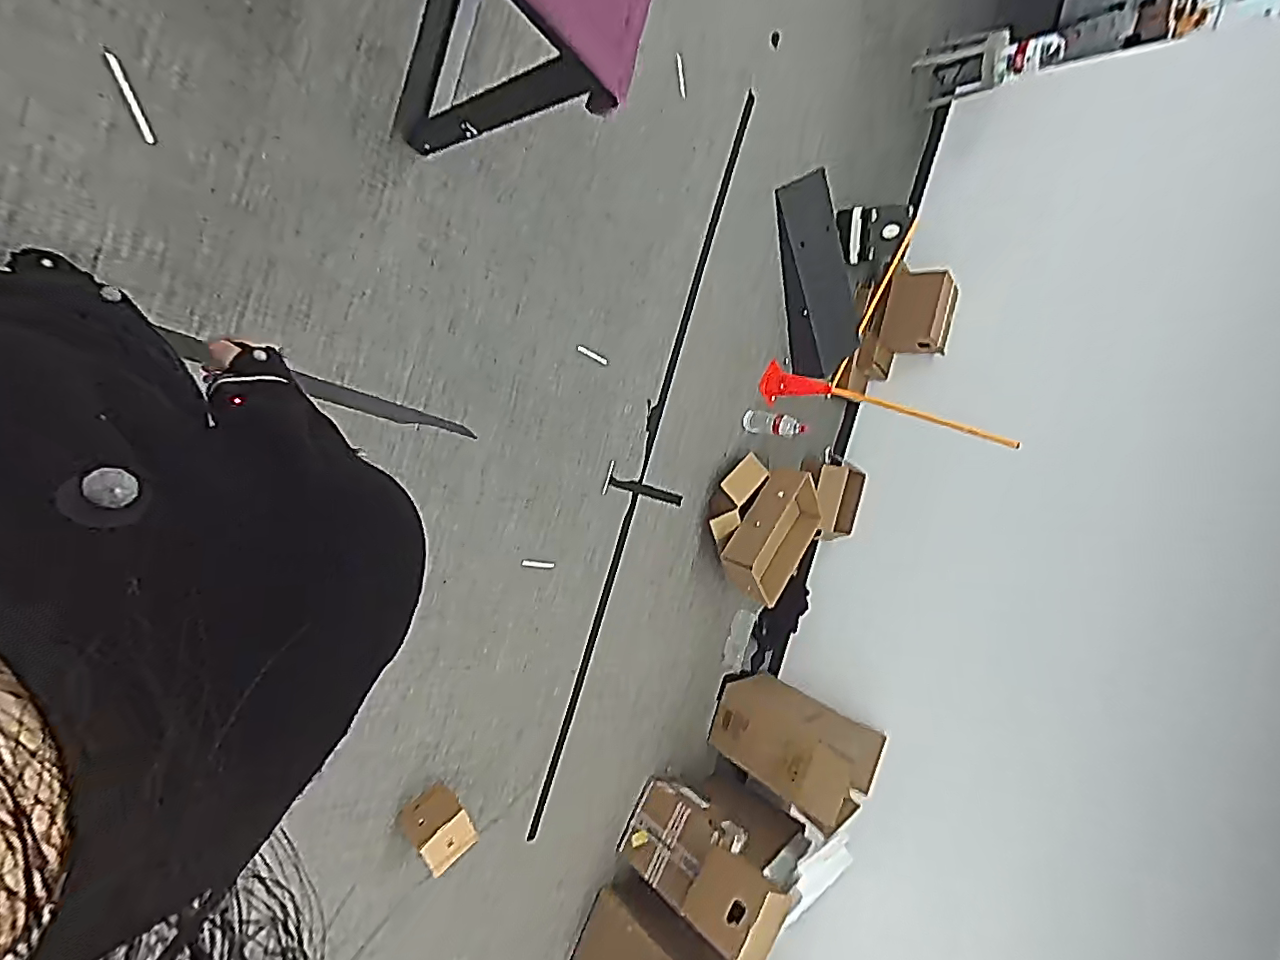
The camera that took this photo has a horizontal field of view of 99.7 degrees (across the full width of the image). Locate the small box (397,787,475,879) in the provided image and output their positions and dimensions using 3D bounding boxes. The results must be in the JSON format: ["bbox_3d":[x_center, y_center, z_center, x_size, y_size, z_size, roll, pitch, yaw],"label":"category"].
[{"bbox_3d":[-0.696,1.190,1.839,0.168,0.176,0.179,-32,126,-36],"label":"small box"}]
